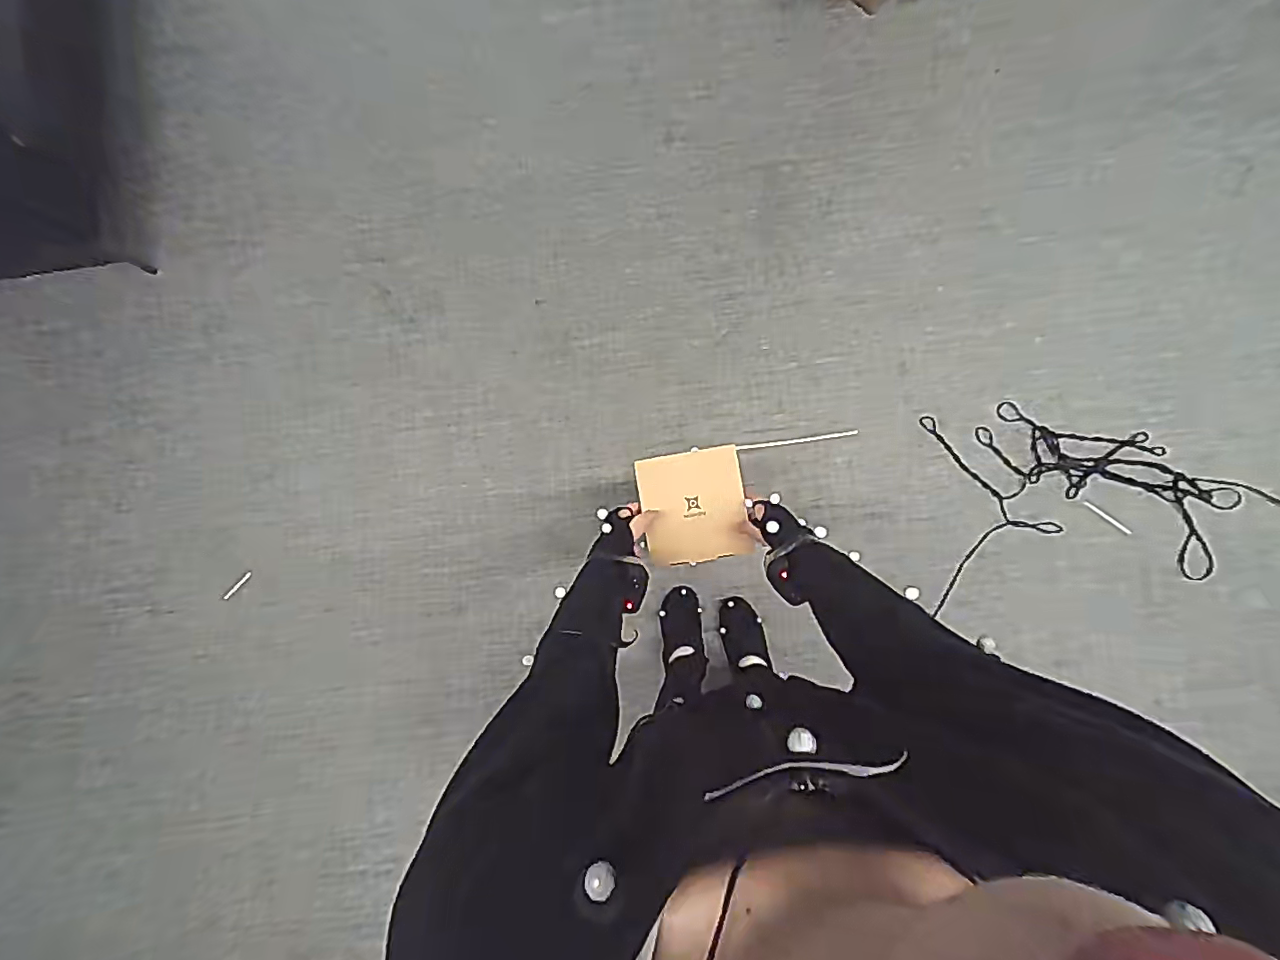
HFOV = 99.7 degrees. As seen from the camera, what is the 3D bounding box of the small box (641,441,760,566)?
[{"bbox_3d":[0.097,0.043,0.918,0.168,0.176,0.179,-10,85,4],"label":"small box"}]
